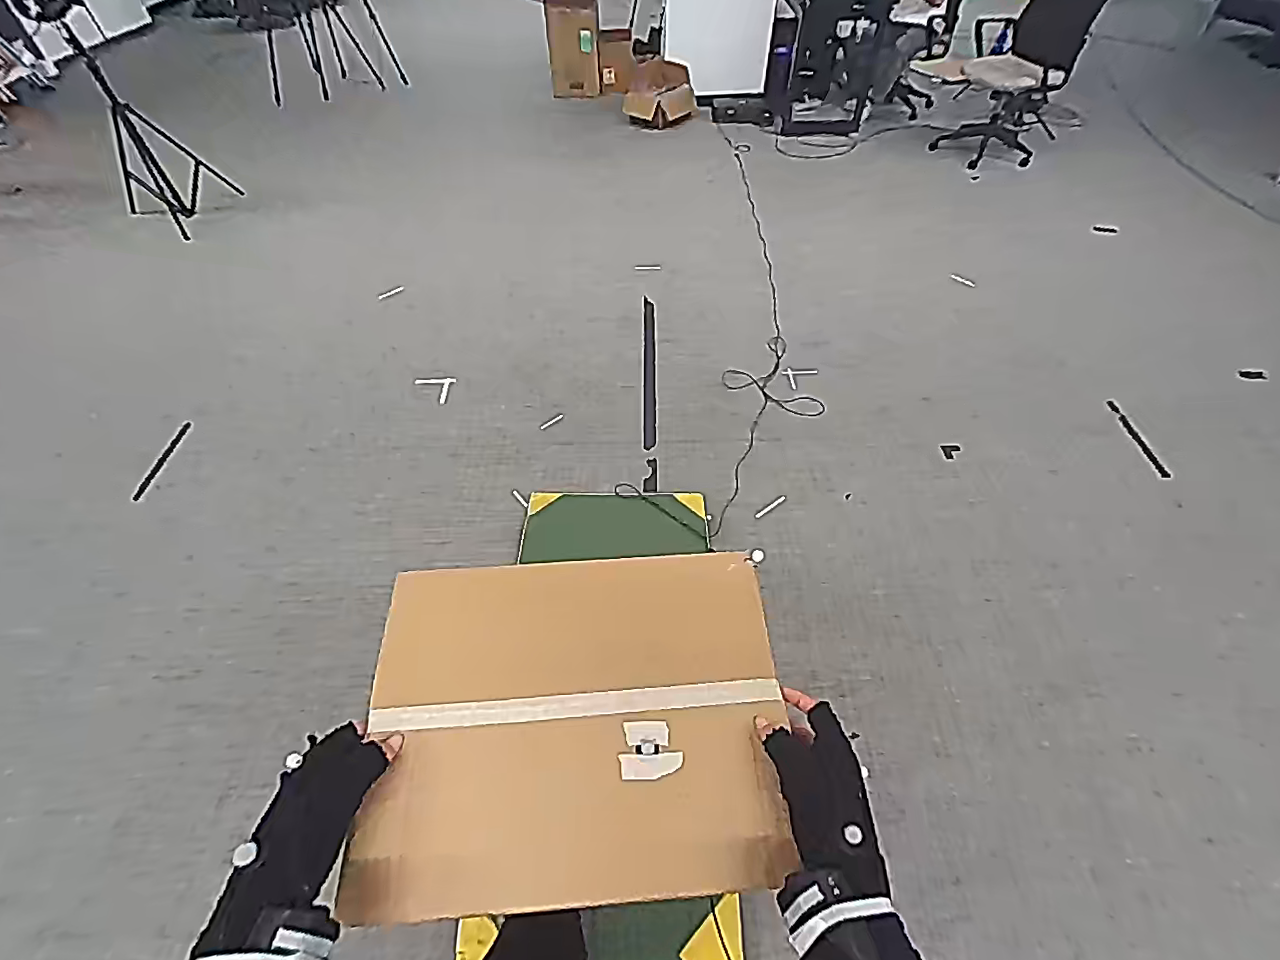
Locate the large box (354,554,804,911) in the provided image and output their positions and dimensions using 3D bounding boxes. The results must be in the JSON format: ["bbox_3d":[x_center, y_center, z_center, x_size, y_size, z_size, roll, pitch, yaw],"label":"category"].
[{"bbox_3d":[-0.066,0.311,0.676,0.408,0.320,0.320,-3,56,-4],"label":"large box"}]
